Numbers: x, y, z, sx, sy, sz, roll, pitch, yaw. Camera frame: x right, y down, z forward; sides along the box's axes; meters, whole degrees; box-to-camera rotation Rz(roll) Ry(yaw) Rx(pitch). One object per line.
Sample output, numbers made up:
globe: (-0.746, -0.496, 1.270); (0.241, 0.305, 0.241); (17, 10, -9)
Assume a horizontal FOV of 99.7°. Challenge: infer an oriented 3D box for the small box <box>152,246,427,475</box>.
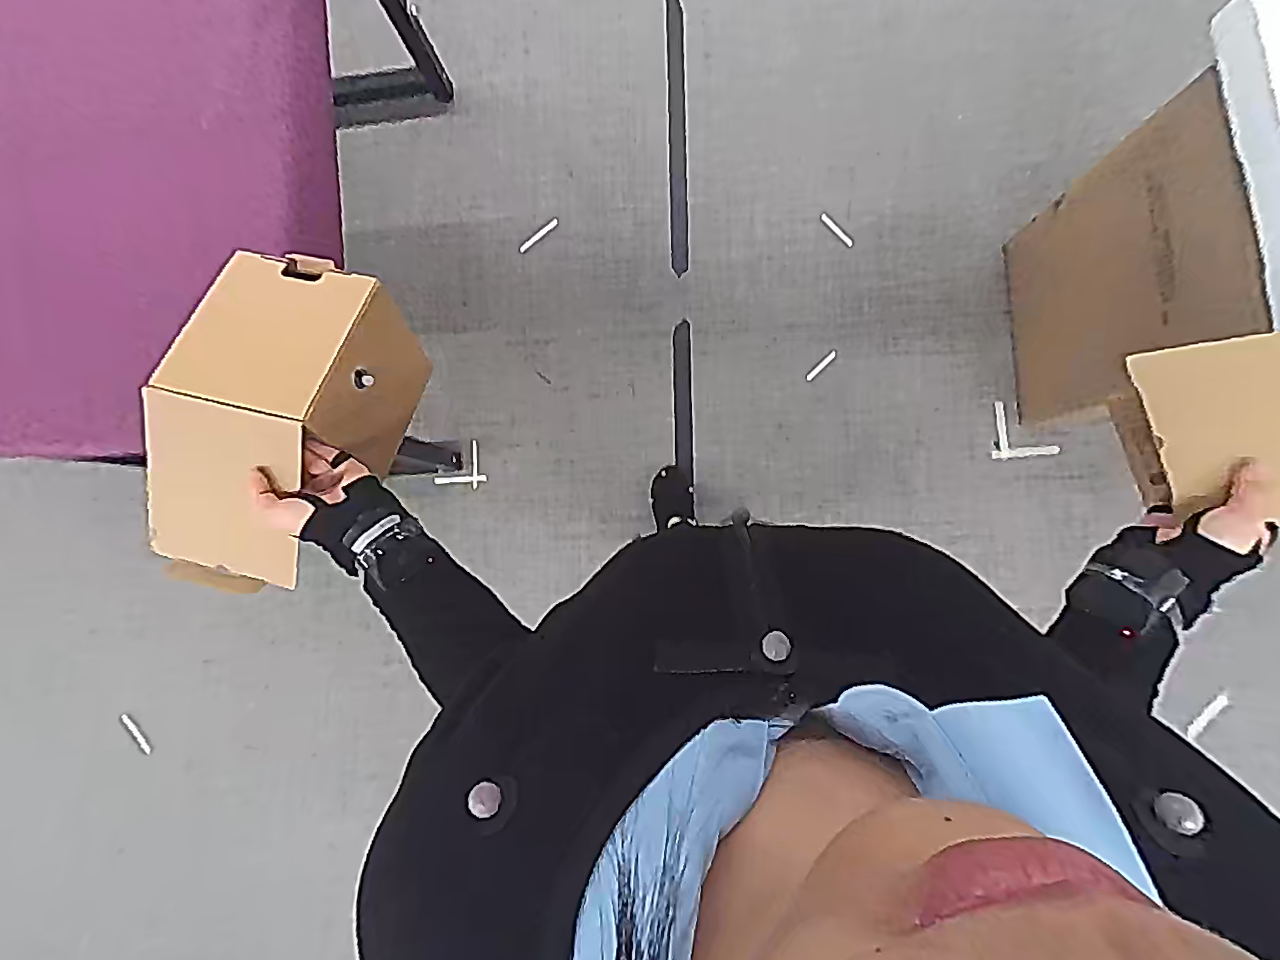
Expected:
small box: (-0.369, -0.125, 0.613); (0.168, 0.176, 0.179); (13, 67, 4)
